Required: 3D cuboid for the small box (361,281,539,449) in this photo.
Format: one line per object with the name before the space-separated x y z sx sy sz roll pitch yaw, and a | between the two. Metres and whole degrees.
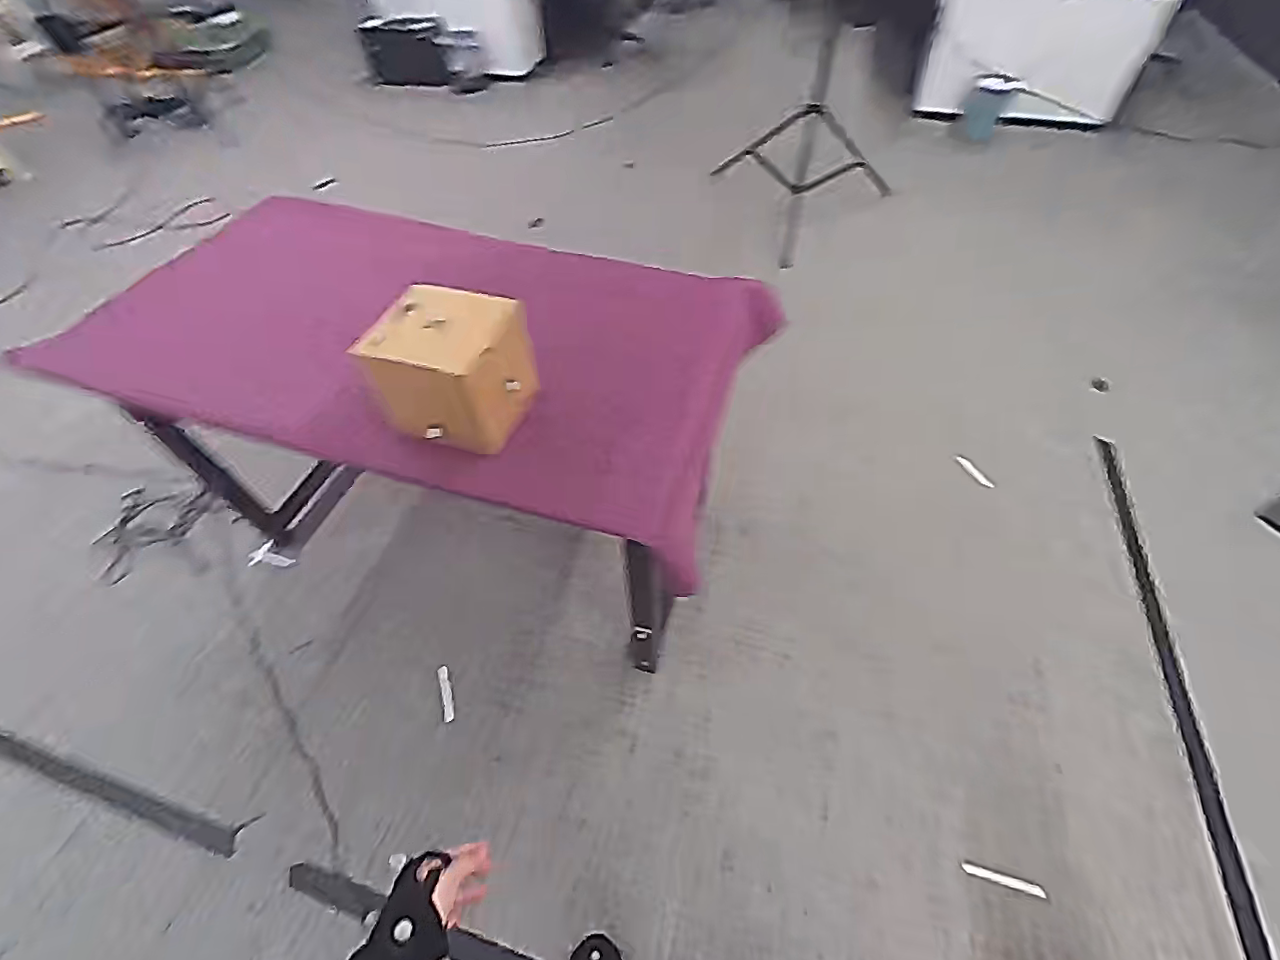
small box | -0.270 -0.170 0.822 0.179 0.176 0.168 15 56 11
